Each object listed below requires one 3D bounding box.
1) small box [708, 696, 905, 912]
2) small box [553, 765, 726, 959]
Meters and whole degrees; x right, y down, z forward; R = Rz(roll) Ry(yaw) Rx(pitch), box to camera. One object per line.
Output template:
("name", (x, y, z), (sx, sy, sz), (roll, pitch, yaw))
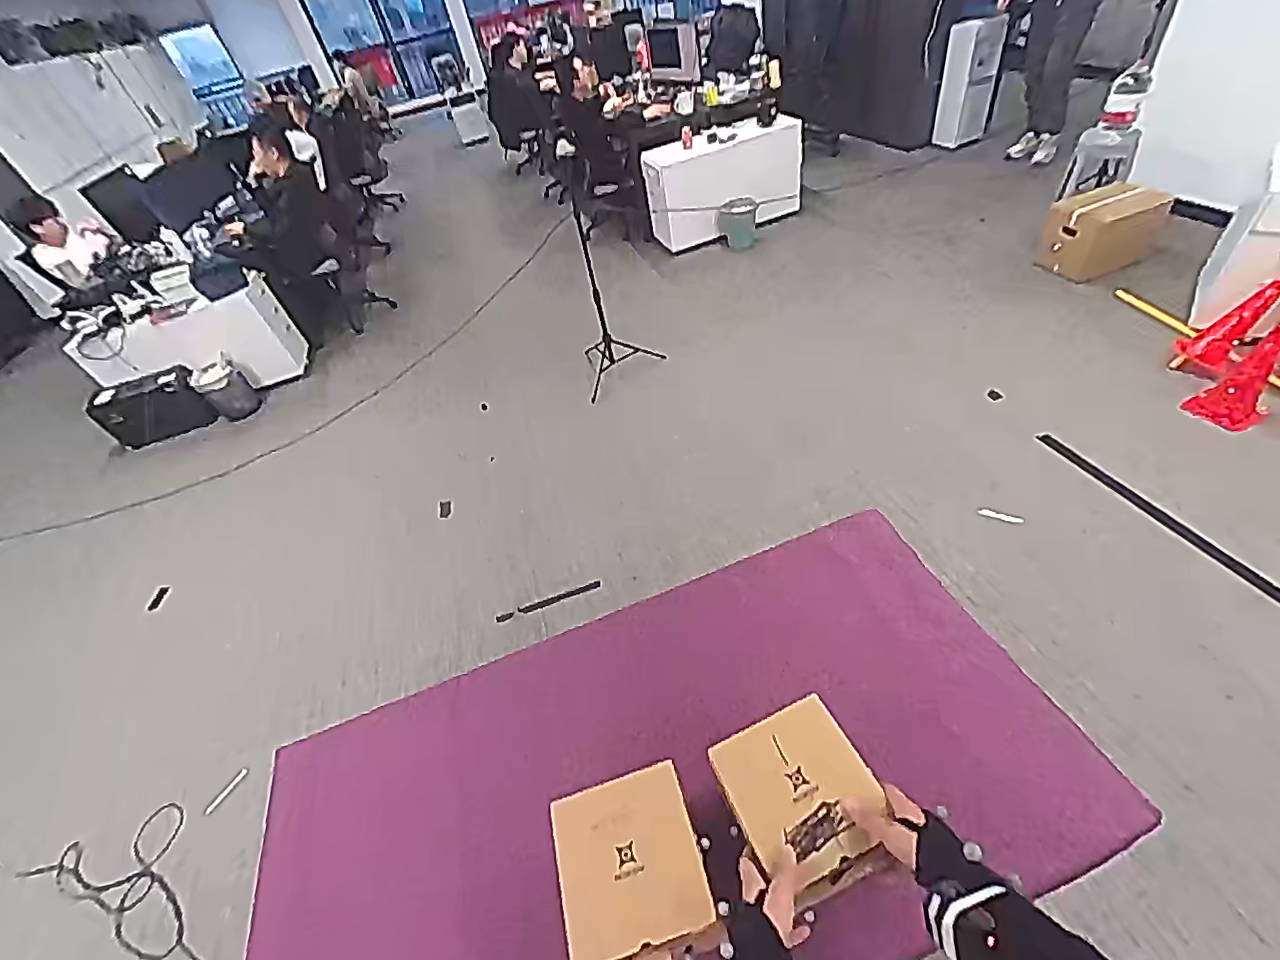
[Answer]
("small box", (0.208, 0.424, 0.702), (0.168, 0.176, 0.179), (-24, 44, -9))
("small box", (0.002, 0.500, 0.683), (0.168, 0.176, 0.179), (-18, 44, -4))
